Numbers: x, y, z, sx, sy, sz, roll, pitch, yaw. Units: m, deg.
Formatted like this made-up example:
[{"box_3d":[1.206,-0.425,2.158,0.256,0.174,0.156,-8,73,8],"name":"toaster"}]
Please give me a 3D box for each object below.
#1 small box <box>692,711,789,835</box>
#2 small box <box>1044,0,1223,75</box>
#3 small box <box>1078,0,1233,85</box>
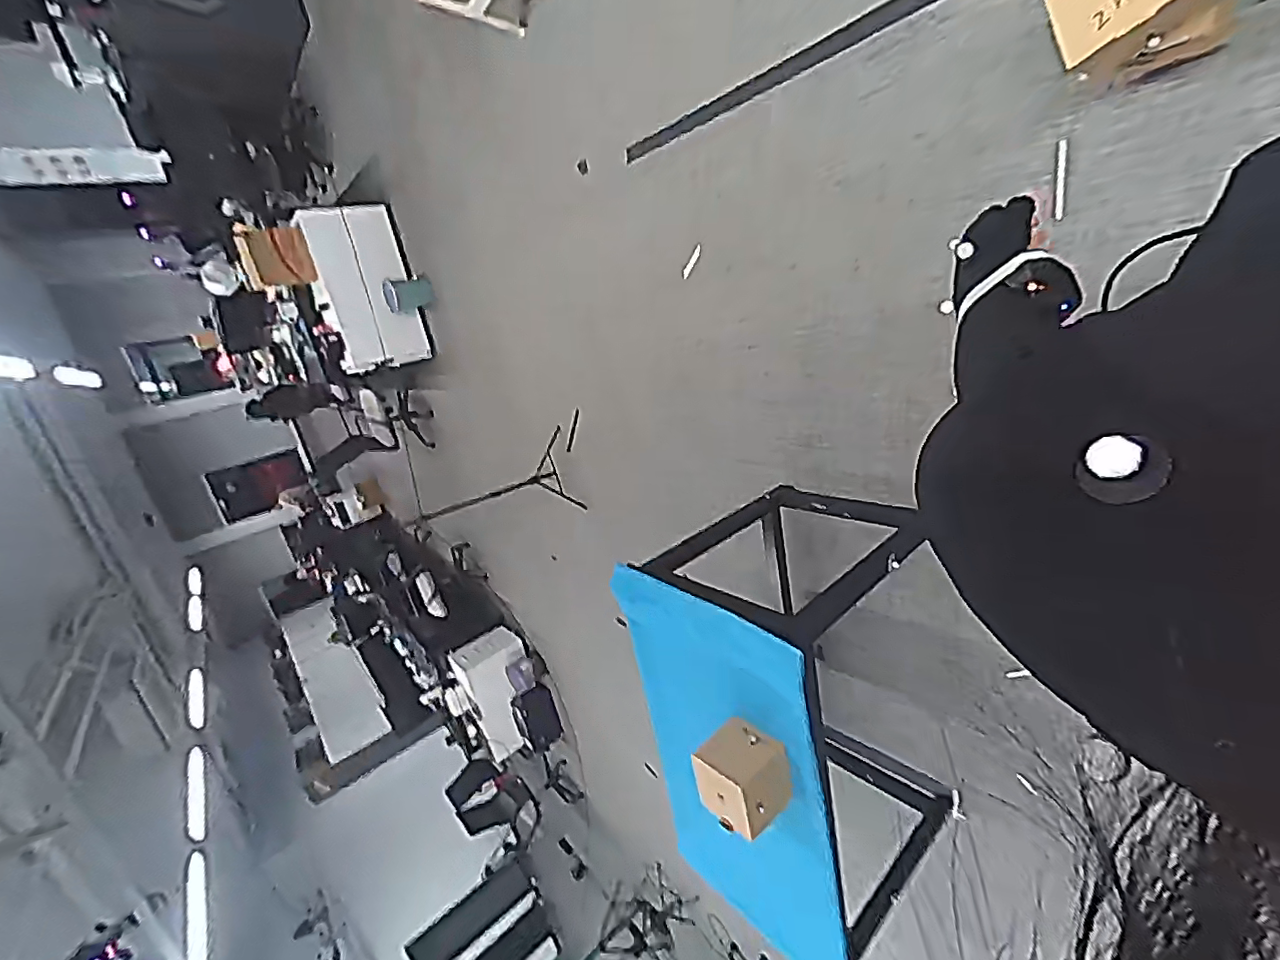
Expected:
[{"box_3d":[0.259,0.727,1.362,0.168,0.176,0.179,11,119,50],"name":"small box"},{"box_3d":[0.734,-0.748,0.811,0.168,0.176,0.179,-9,104,56],"name":"small box"},{"box_3d":[0.863,-0.793,0.903,0.168,0.176,0.179,10,117,51],"name":"small box"}]
